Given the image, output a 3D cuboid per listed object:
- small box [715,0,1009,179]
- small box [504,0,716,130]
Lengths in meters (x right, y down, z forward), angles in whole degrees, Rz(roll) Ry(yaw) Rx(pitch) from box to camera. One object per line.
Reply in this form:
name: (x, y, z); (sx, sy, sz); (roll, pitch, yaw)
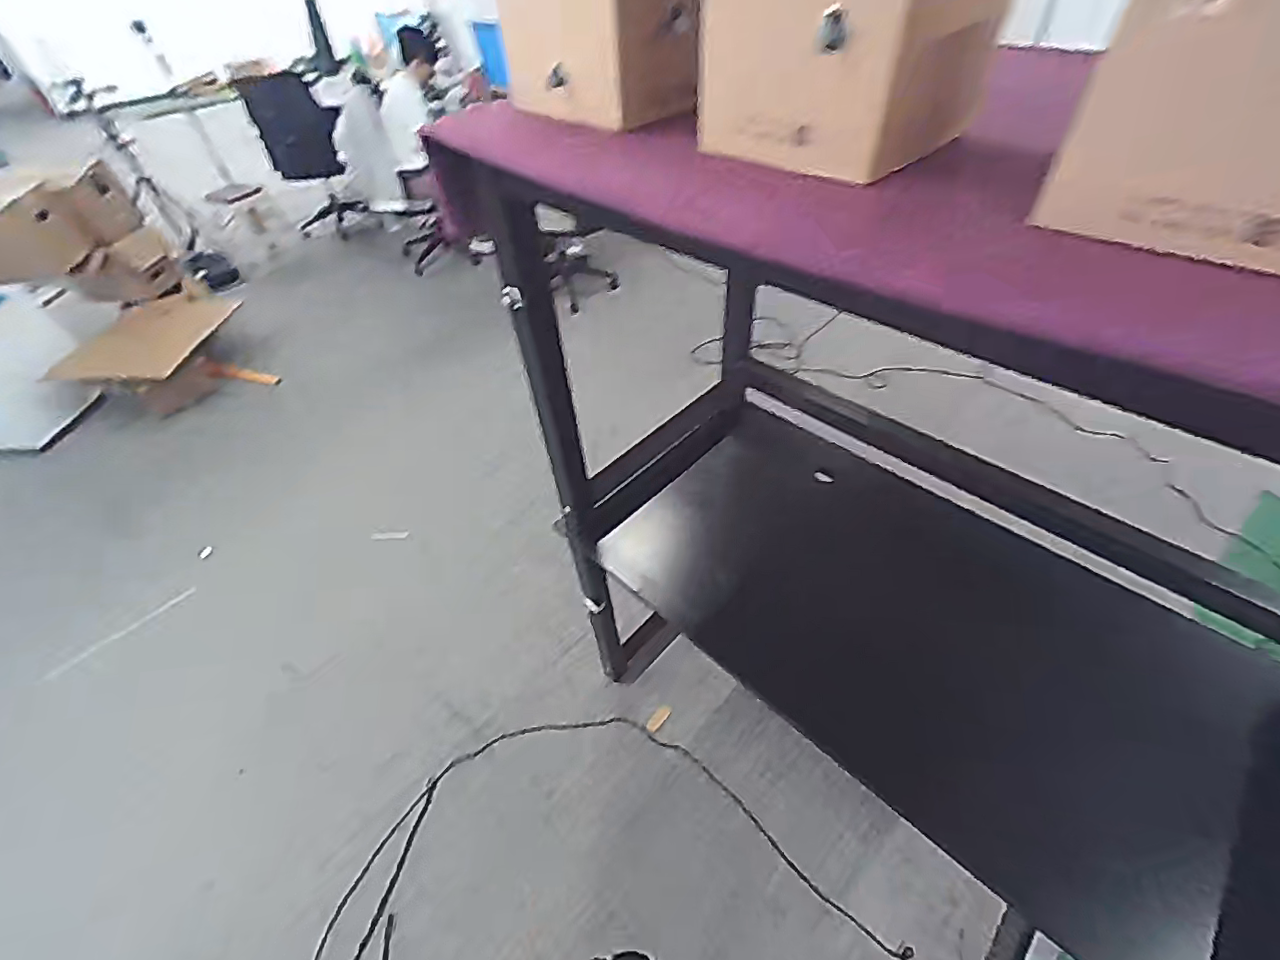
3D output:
small box: (0.172, -0.356, 0.424); (0.179, 0.176, 0.168); (-35, 53, -27)
small box: (-0.024, -0.485, 0.564); (0.179, 0.176, 0.168); (33, 56, 30)
